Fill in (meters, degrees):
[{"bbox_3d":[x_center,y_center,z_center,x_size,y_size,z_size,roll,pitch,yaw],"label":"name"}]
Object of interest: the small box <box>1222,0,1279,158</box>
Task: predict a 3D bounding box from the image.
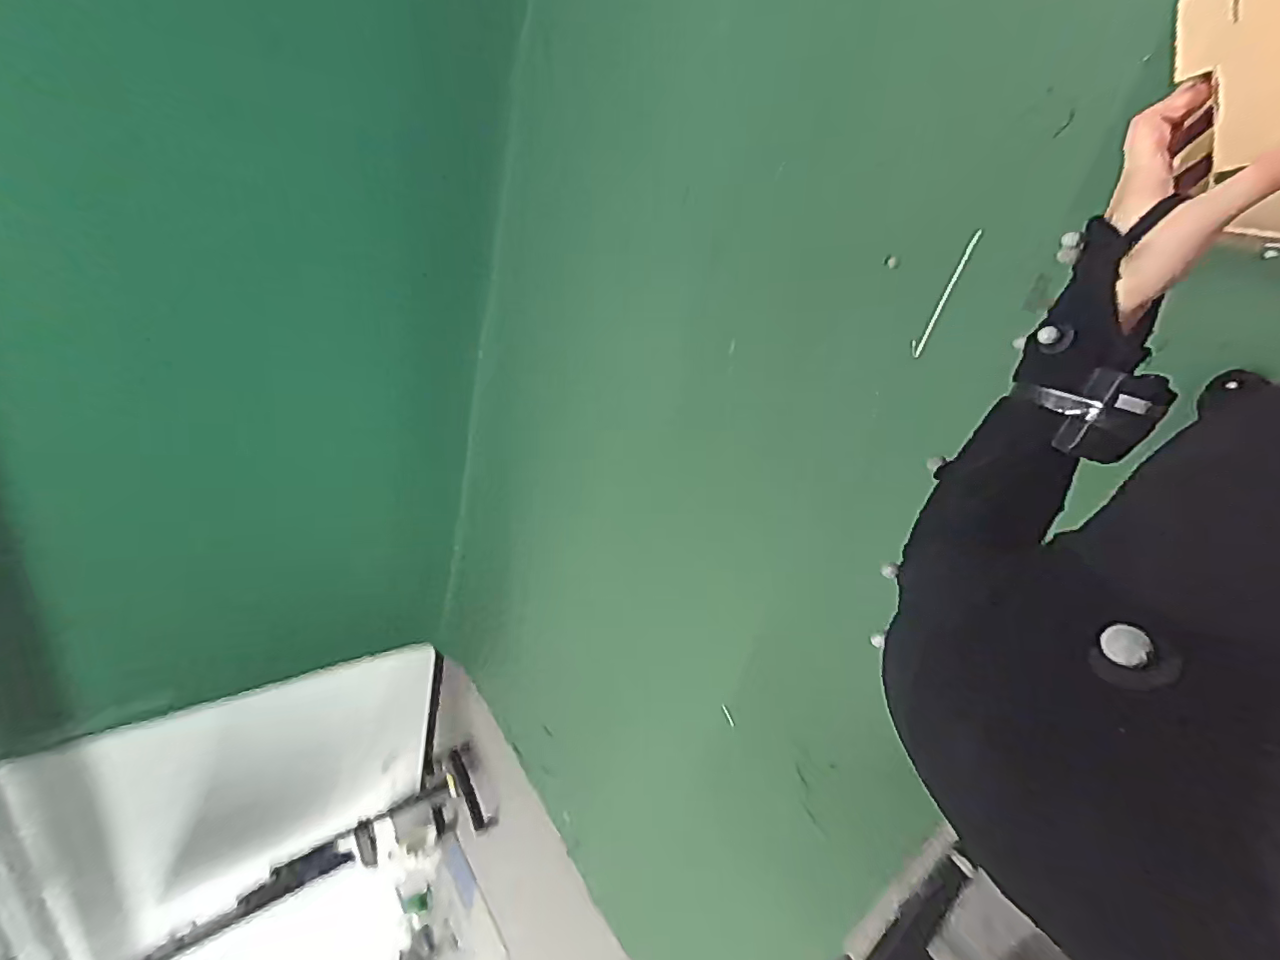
[{"bbox_3d":[0.452,-0.304,0.298,0.179,0.176,0.168,-2,106,48],"label":"small box"}]
